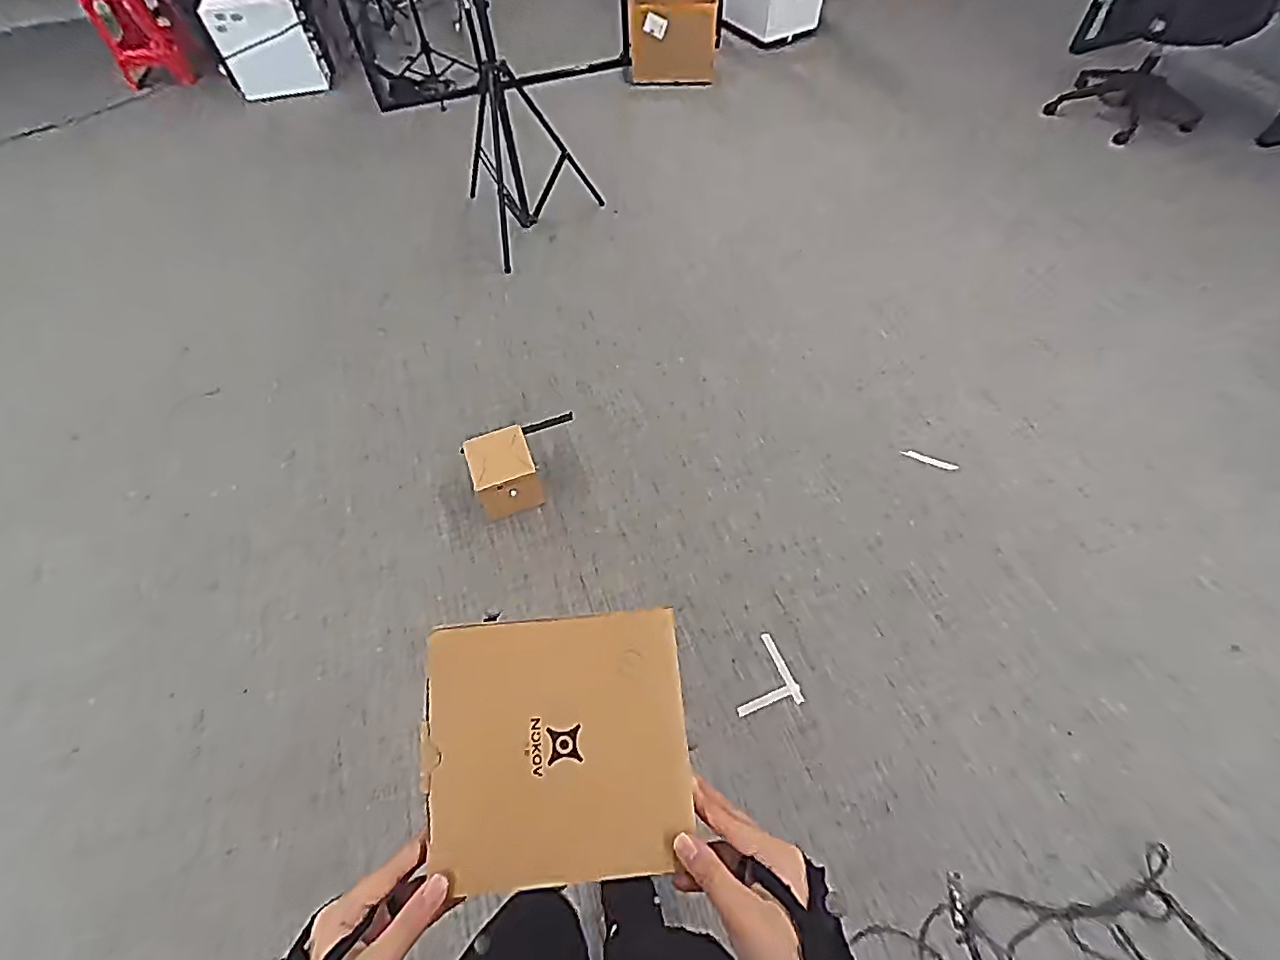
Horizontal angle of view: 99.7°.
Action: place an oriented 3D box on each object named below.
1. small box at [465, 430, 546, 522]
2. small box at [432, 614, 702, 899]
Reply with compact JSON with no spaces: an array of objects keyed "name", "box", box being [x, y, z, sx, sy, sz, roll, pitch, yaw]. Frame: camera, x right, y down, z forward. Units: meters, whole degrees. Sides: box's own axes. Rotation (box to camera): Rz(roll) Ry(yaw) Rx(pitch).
[{"name":"small box","box":[-0.381,-0.015,1.531,0.168,0.176,0.179,-20,58,-10]},{"name":"small box","box":[-0.054,0.200,0.442,0.179,0.176,0.168,-5,76,-2]}]
